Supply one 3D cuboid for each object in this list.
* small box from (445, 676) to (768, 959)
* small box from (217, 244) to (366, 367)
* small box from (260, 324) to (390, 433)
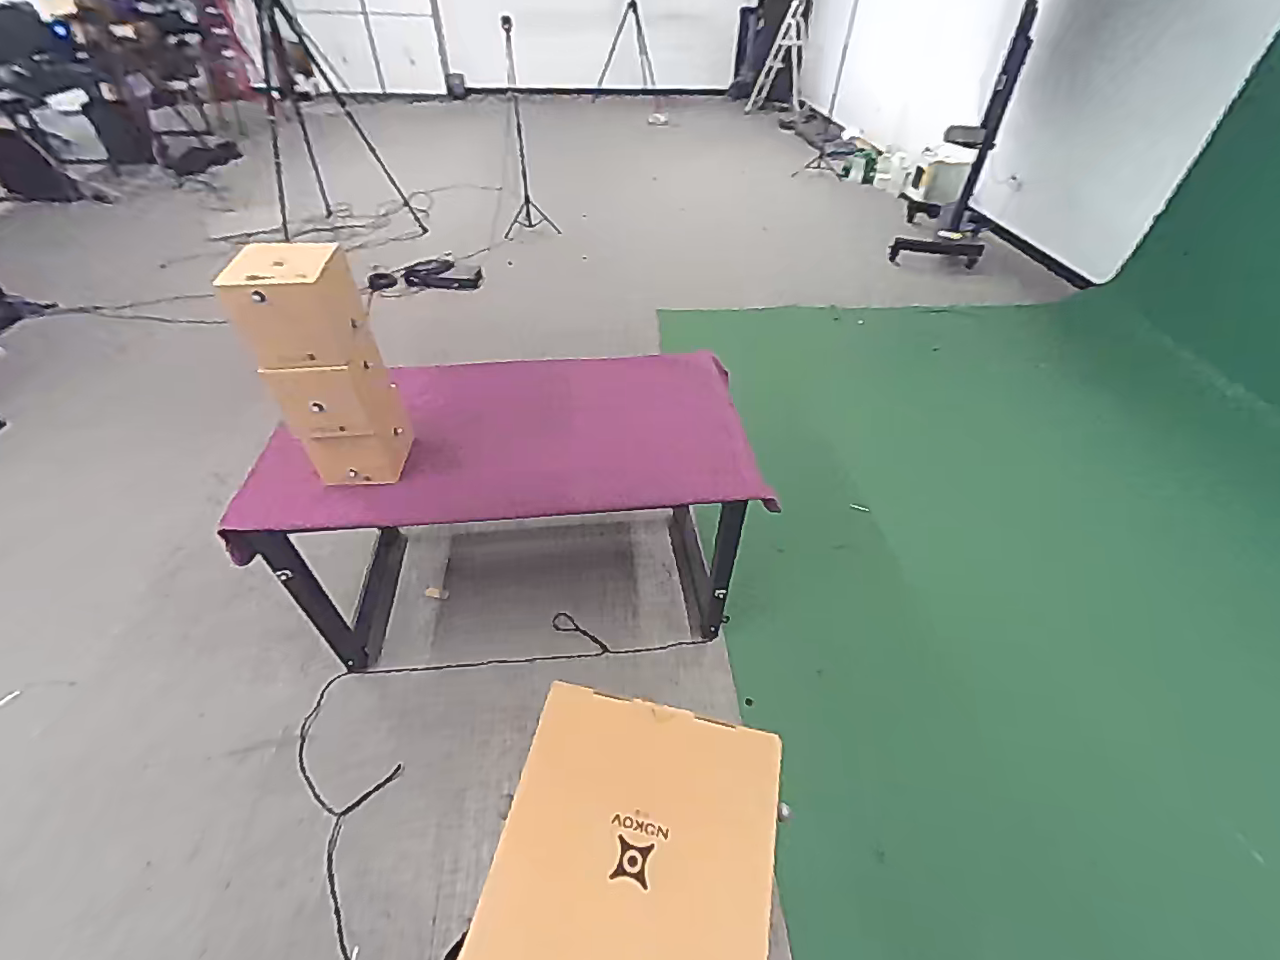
[{"bbox_3d":[-0.011,0.274,0.392,0.168,0.176,0.179,11,50,8],"label":"small box"},{"bbox_3d":[-0.645,-0.333,1.031,0.168,0.176,0.179,-4,45,-6],"label":"small box"},{"bbox_3d":[-0.648,-0.210,1.141,0.168,0.176,0.179,-3,45,-6],"label":"small box"}]
